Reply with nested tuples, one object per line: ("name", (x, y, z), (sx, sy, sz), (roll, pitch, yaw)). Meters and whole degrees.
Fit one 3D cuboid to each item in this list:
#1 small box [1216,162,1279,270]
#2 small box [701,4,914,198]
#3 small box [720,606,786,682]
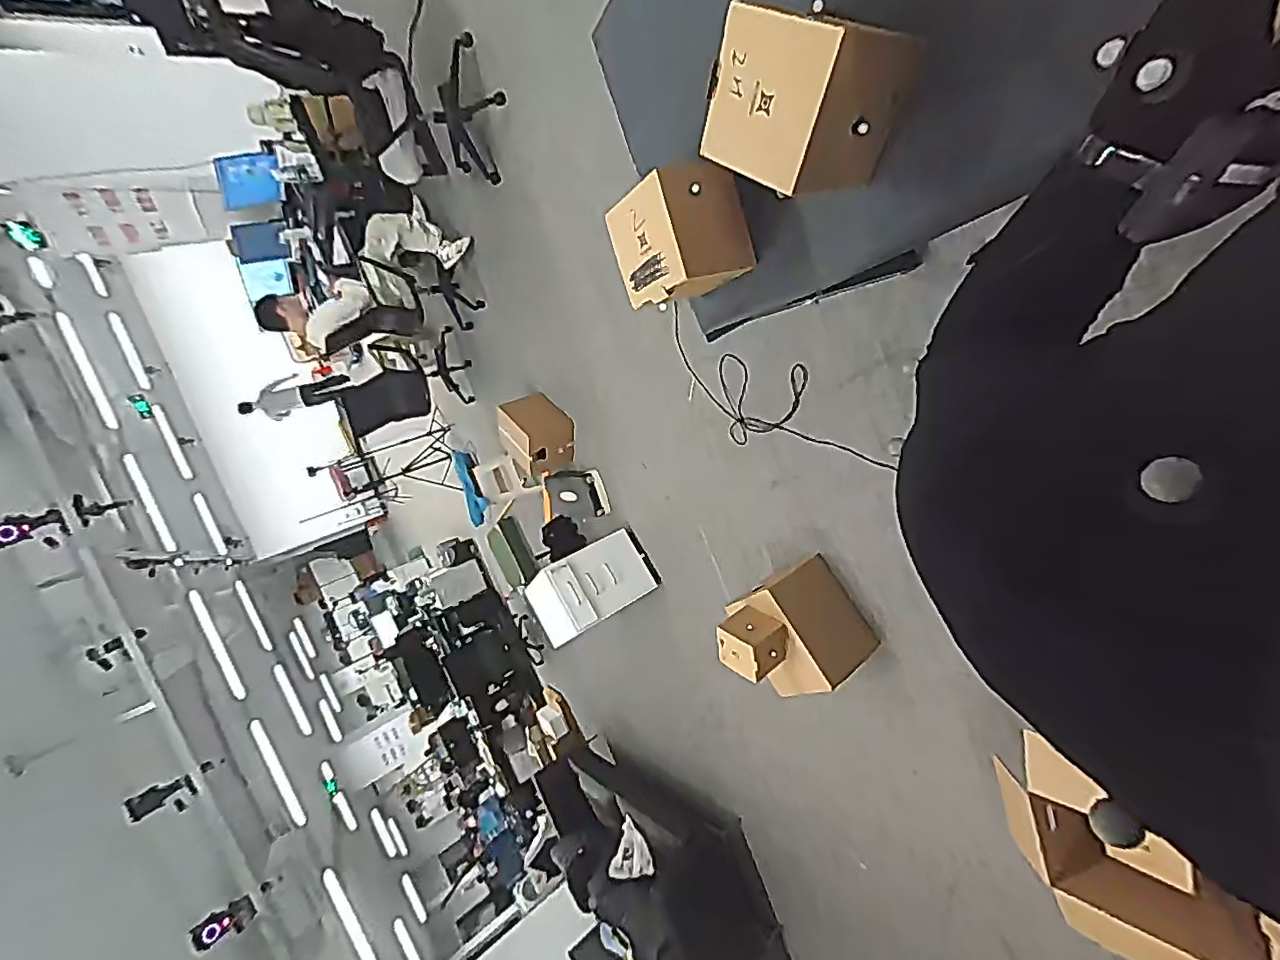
("small box", (1.077, -0.415, 0.819), (0.176, 0.168, 0.179), (28, 113, 6))
("small box", (0.212, -0.489, 0.701), (0.179, 0.176, 0.168), (45, 143, 30))
("small box", (0.415, 0.586, 1.962), (0.179, 0.176, 0.168), (19, 126, 48))
